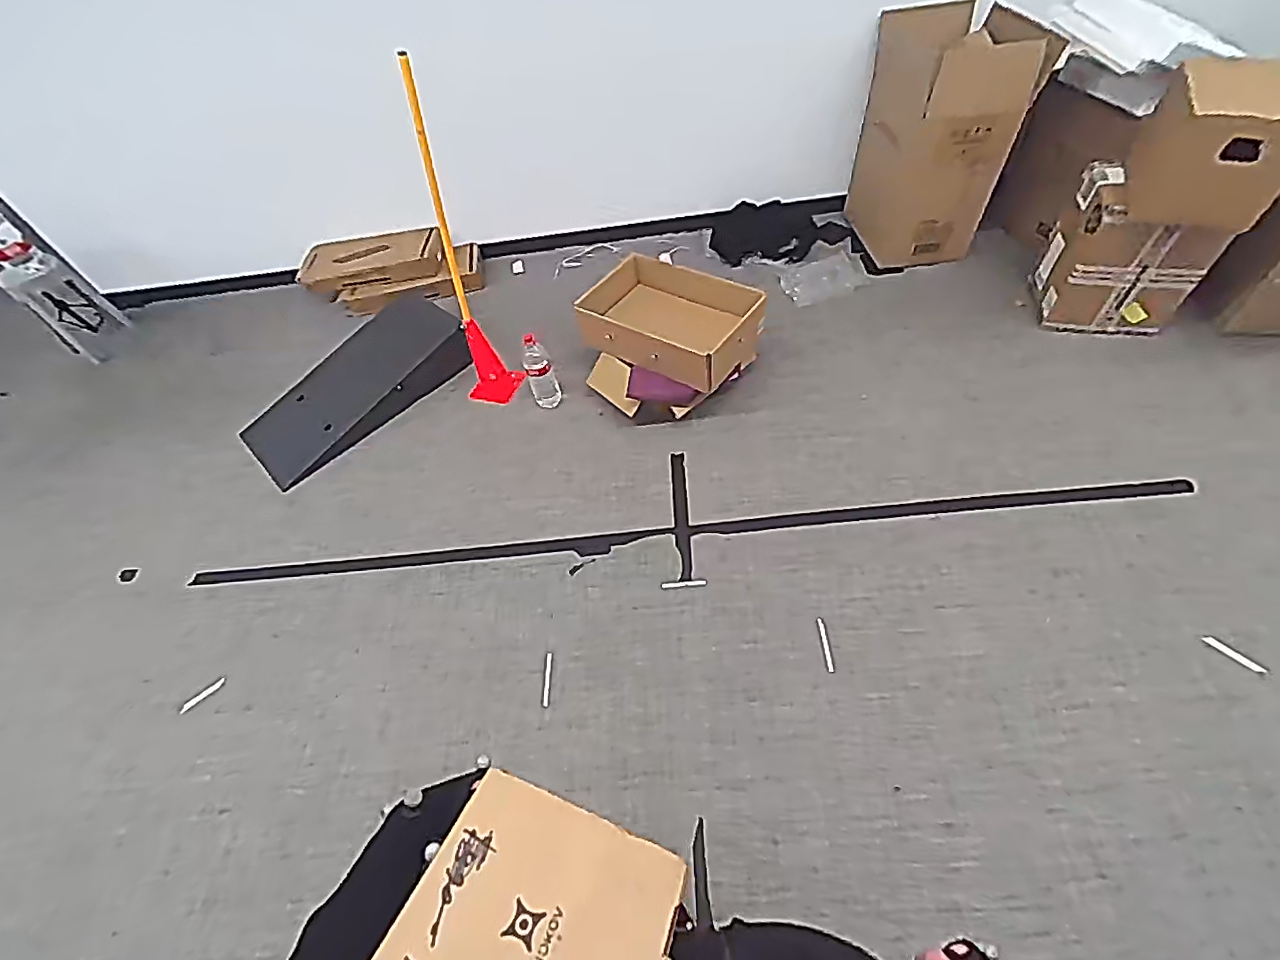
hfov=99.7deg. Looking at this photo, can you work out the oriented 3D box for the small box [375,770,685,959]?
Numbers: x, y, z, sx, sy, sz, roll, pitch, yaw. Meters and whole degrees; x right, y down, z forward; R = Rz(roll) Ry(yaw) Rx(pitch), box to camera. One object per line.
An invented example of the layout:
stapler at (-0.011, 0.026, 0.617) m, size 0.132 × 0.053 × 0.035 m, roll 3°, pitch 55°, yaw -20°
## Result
small box at (-0.085, 0.371, 0.415) m, size 0.179 × 0.176 × 0.168 m, roll 20°, pitch 36°, yaw 11°
